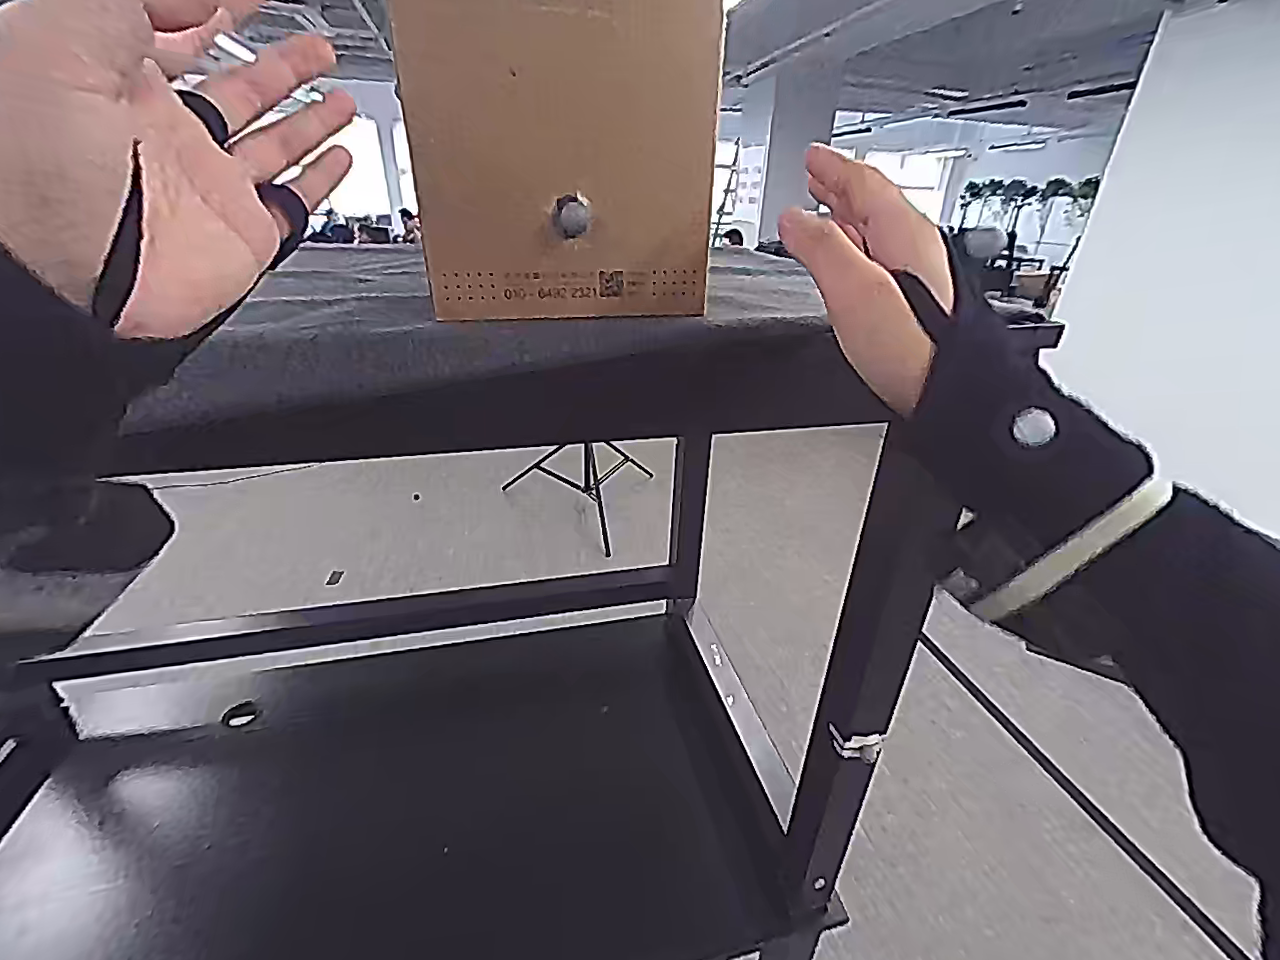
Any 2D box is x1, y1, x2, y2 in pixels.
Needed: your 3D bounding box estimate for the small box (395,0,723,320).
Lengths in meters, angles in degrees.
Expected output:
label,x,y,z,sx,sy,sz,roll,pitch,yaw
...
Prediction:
label,x,y,z,sx,sy,sz,roll,pitch,yaw
small box,-0.055,-0.208,0.367,0.168,0.176,0.179,-6,27,-11
